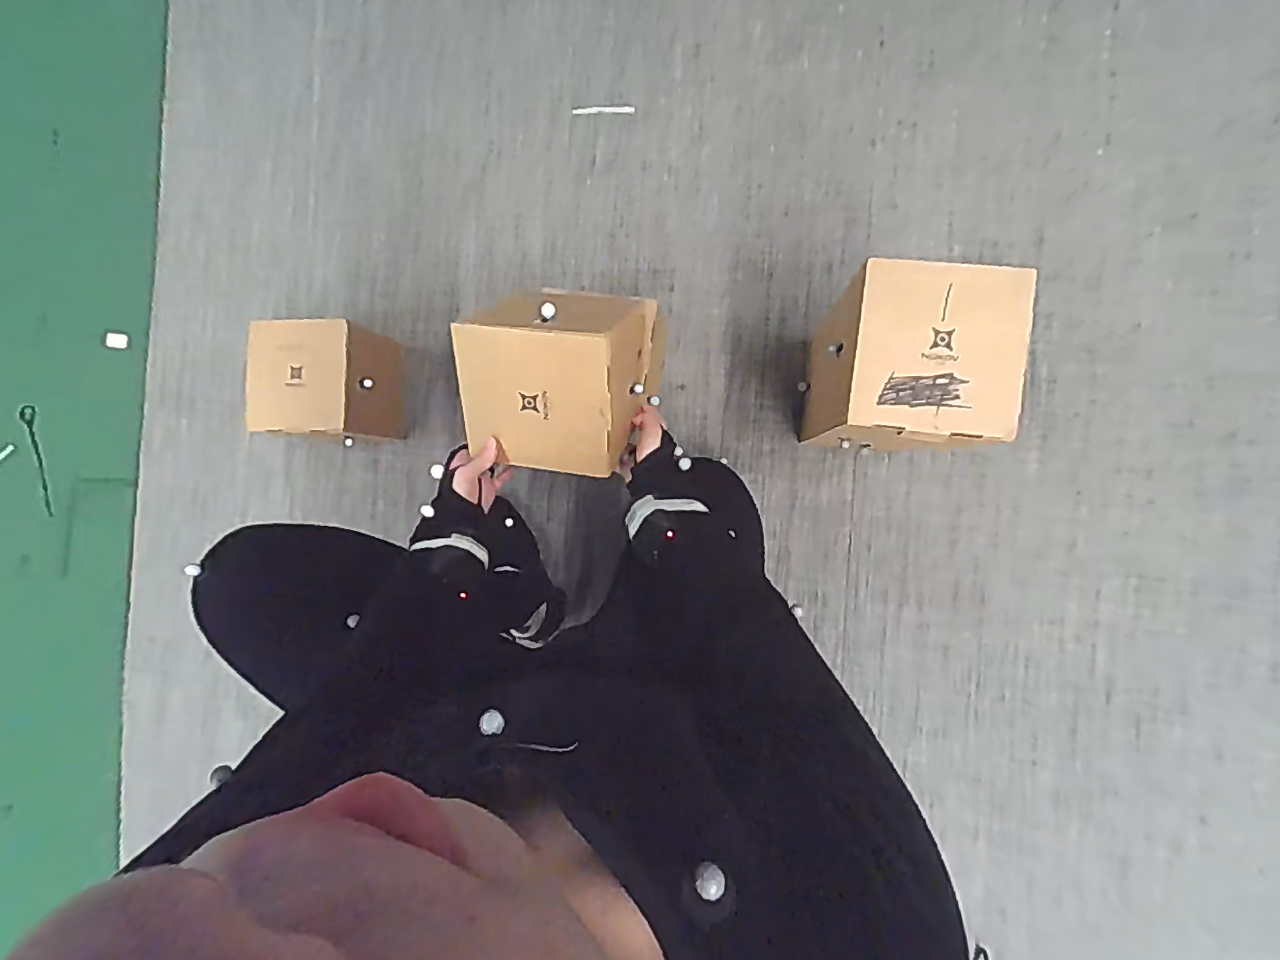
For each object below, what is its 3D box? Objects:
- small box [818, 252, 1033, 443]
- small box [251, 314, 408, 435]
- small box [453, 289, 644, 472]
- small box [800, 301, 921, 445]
[{"bbox_3d":[0.312,-0.140,0.629,0.168,0.176,0.179,7,90,8],"label":"small box"},{"bbox_3d":[-0.512,-0.169,0.912,0.168,0.176,0.179,2,90,7],"label":"small box"},{"bbox_3d":[-0.101,-0.131,0.664,0.179,0.176,0.168,8,122,9],"label":"small box"},{"bbox_3d":[0.337,-0.146,0.792,0.168,0.176,0.179,7,92,8],"label":"small box"}]
